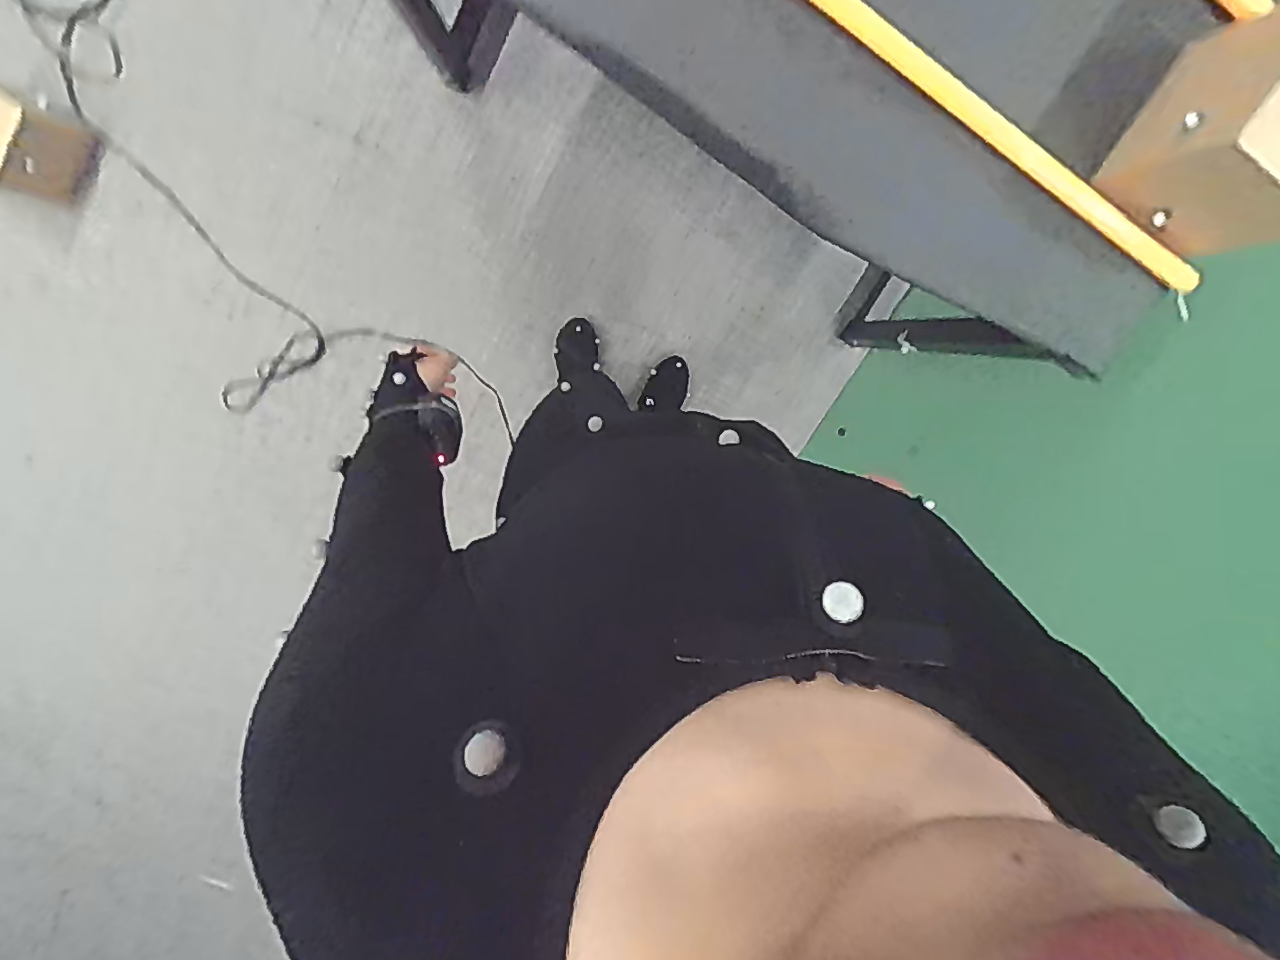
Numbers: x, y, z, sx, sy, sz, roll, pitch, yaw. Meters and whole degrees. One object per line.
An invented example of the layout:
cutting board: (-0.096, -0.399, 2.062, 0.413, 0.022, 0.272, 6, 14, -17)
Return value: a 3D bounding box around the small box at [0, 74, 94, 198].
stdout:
small box: (-1.319, -0.727, 1.131, 0.168, 0.176, 0.179, 35, 101, -12)
